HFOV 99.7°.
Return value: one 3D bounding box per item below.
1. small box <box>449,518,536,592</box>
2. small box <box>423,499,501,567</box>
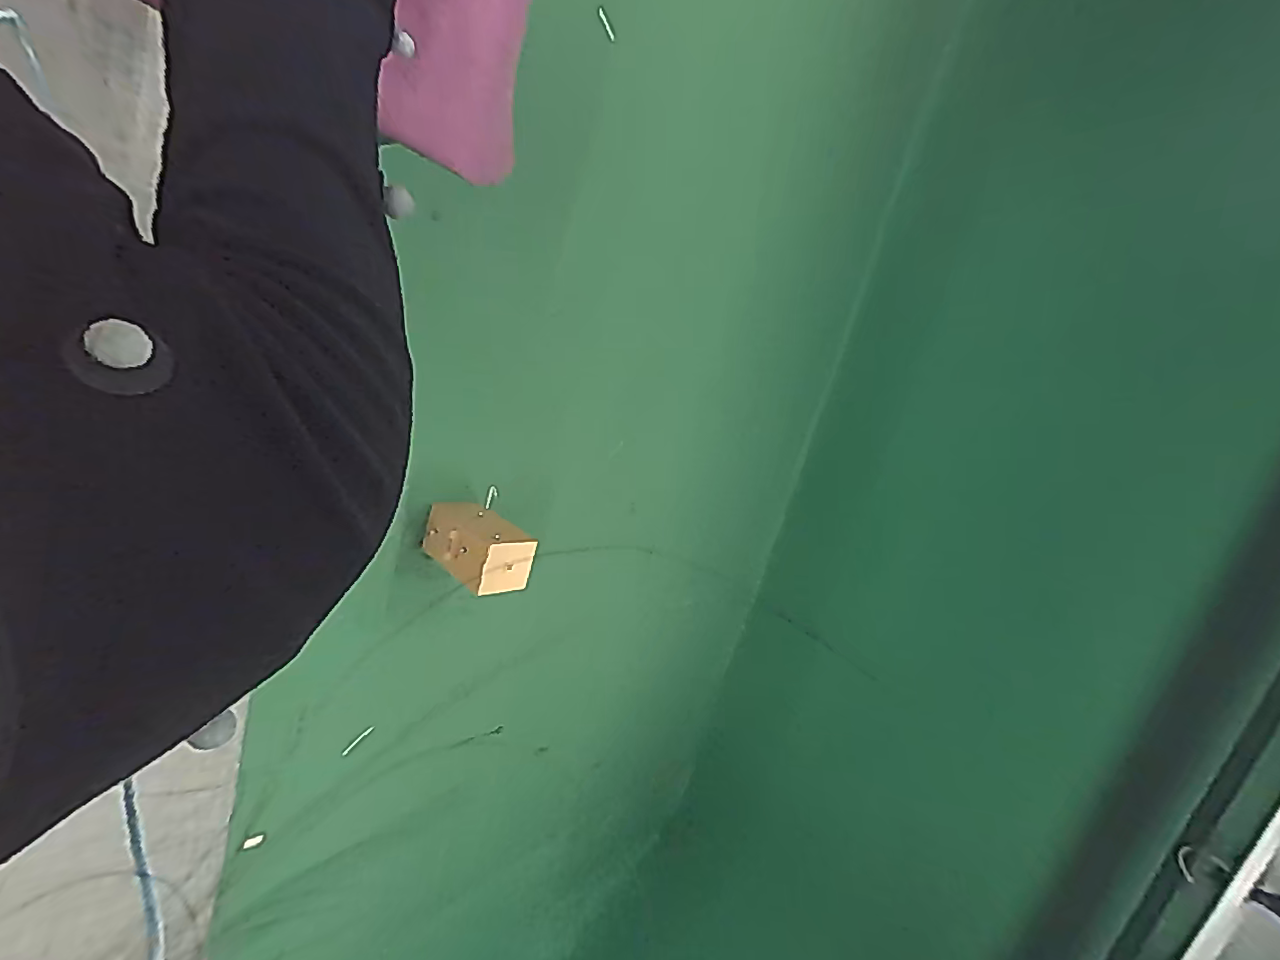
[{"bbox_3d":[-0.454,0.223,1.663,0.179,0.176,0.168,2,109,-51],"label":"small box"},{"bbox_3d":[-0.573,0.168,1.760,0.179,0.176,0.168,5,106,-51],"label":"small box"}]
